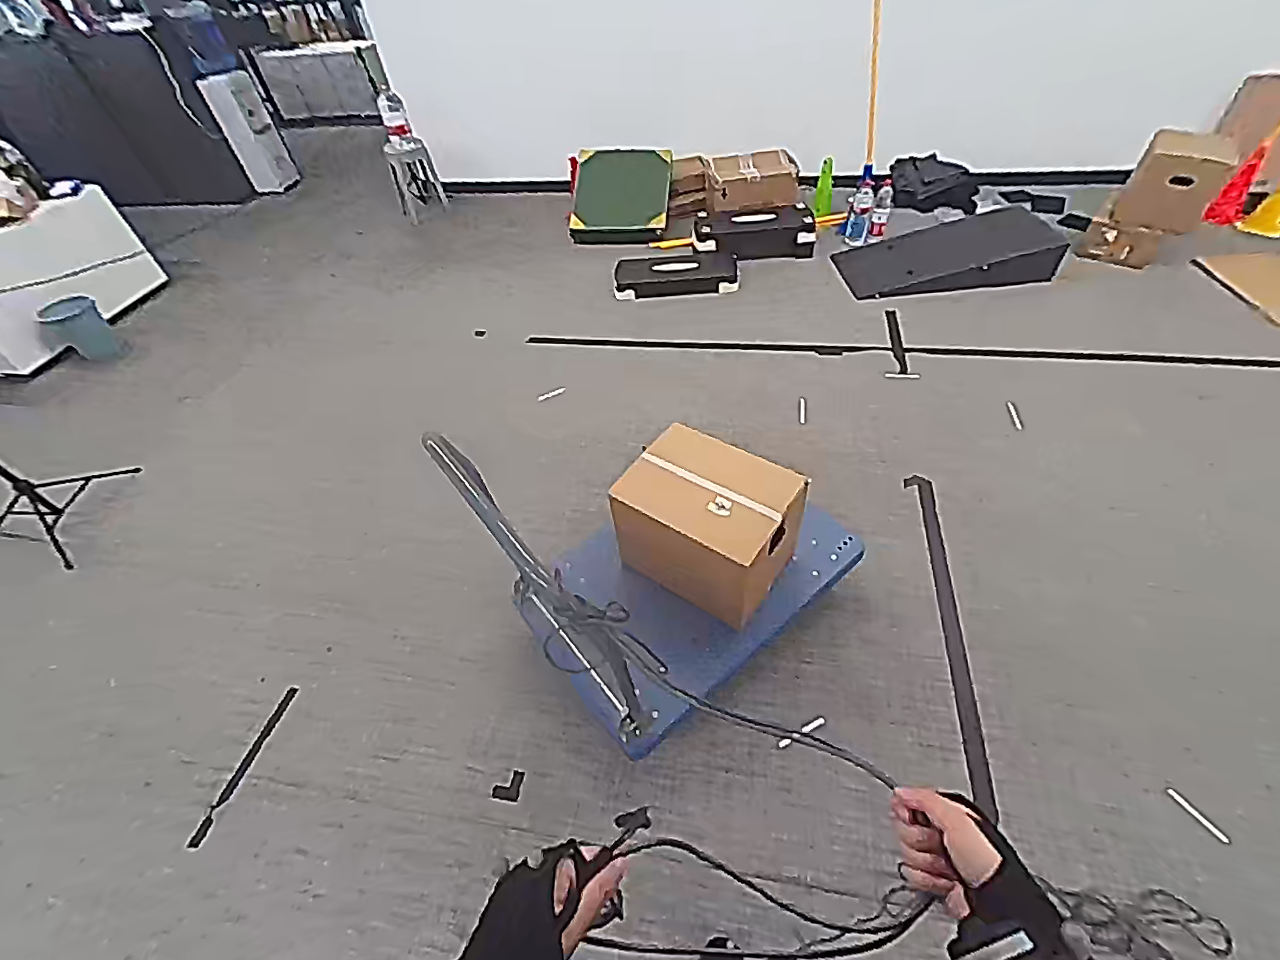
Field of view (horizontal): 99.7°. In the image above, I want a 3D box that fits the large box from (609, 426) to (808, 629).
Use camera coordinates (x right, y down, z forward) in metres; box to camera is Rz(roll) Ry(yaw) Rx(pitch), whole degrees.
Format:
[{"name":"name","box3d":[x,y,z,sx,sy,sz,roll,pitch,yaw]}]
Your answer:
[{"name":"large box","box3d":[0.176,0.119,1.444,0.408,0.320,0.320,27,57,26]}]
